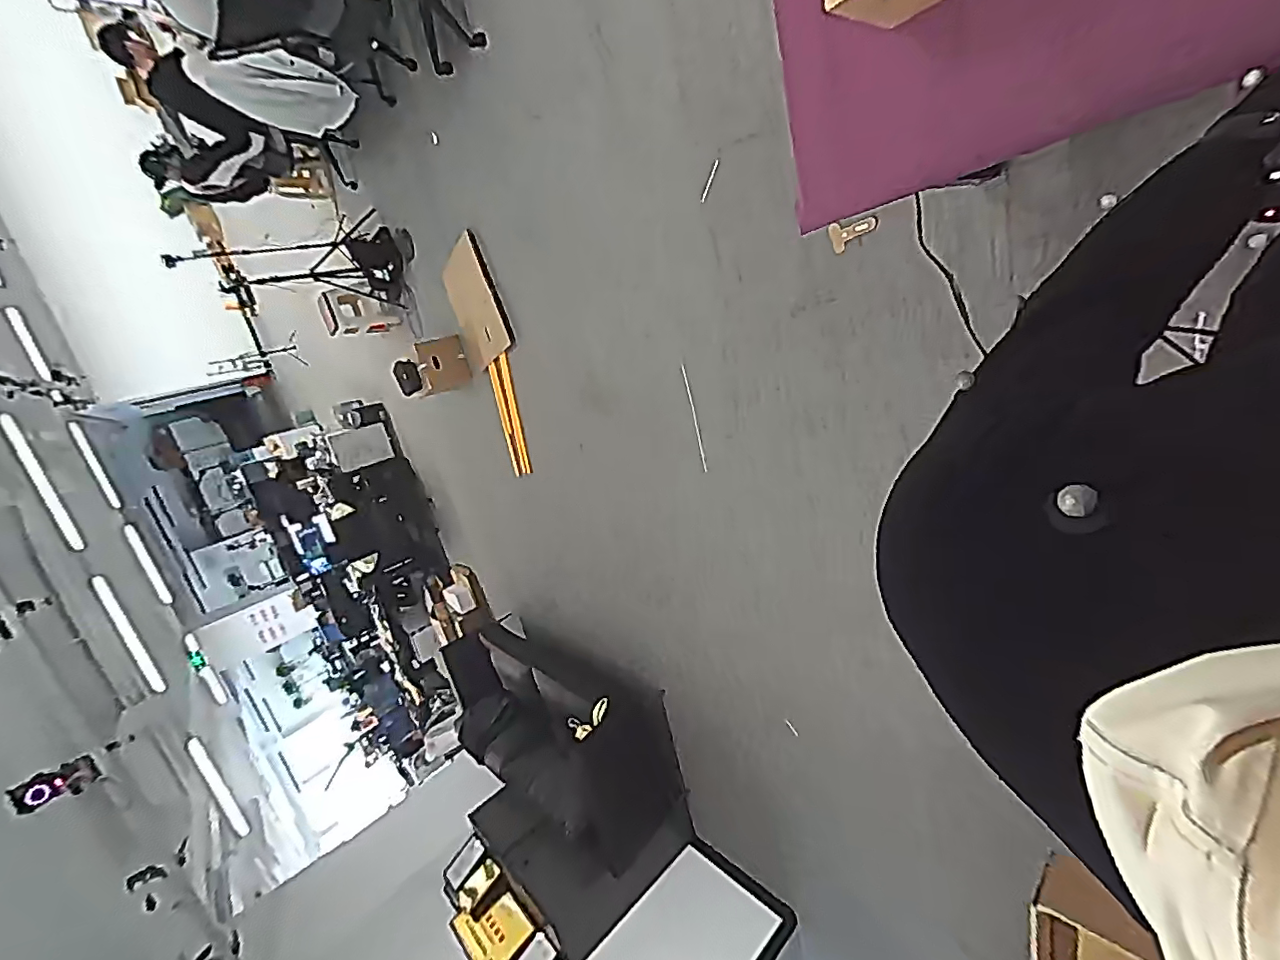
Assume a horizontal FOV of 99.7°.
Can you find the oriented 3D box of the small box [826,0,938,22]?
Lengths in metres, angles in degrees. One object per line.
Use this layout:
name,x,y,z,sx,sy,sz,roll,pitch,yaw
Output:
small box,0.319,-0.675,0.617,0.168,0.176,0.179,7,115,51
